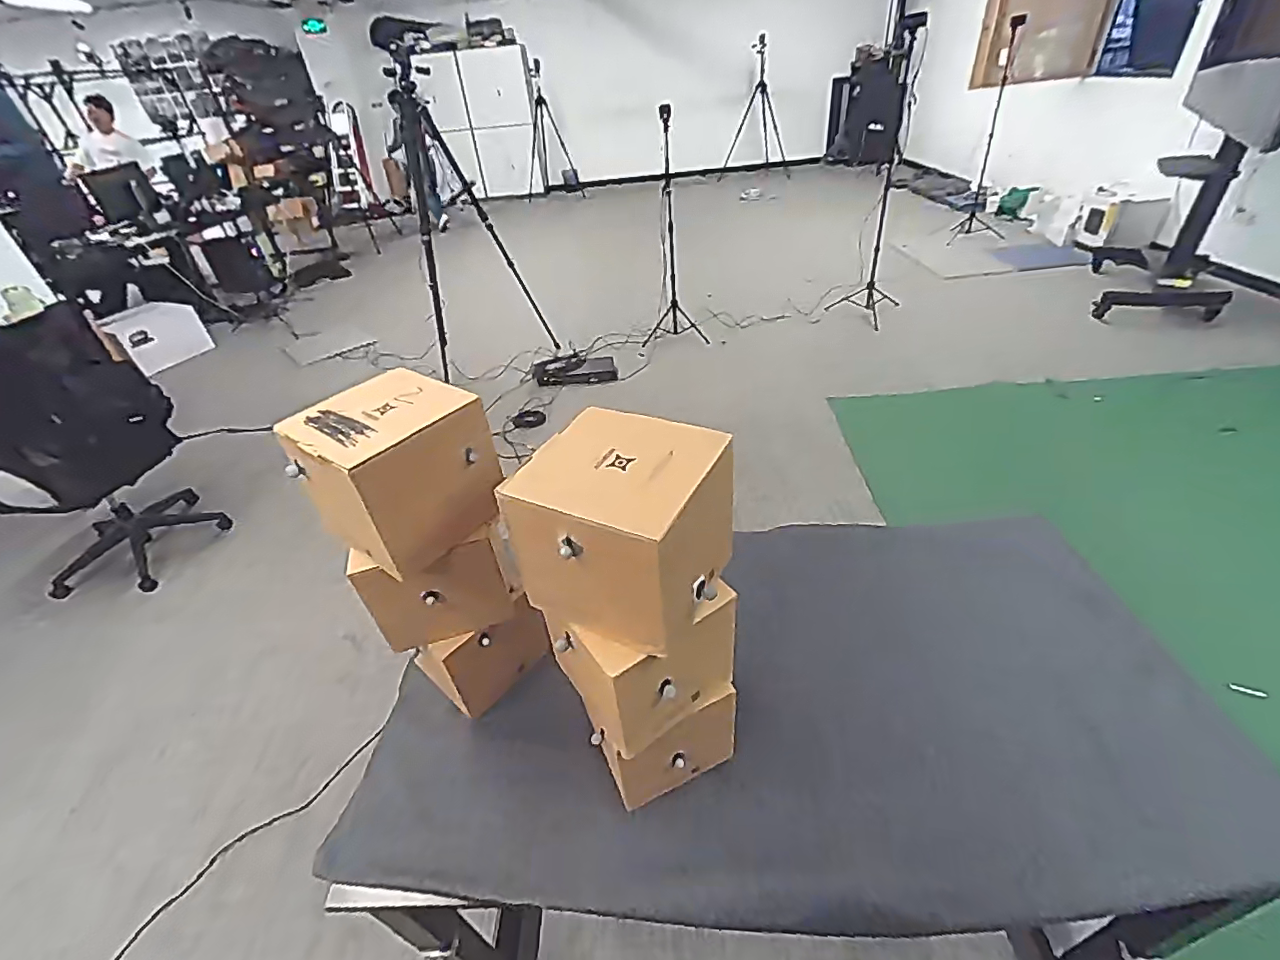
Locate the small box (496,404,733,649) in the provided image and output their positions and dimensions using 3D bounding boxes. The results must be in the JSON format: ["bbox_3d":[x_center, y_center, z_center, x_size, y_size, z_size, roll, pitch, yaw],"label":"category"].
[{"bbox_3d":[-0.014,0.044,0.563,0.179,0.176,0.168,15,43,26],"label":"small box"}]

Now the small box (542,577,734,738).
[{"bbox_3d":[-0.002,0.178,0.655,0.168,0.176,0.179,-27,41,-24],"label":"small box"}]

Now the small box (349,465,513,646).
[{"bbox_3d":[-0.290,0.108,0.784,0.179,0.176,0.168,-15,39,-11],"label":"small box"}]

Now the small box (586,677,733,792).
[{"bbox_3d":[0.018,0.302,0.758,0.168,0.176,0.179,-19,39,-16],"label":"small box"}]

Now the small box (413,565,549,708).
[{"bbox_3d":[-0.275,0.235,0.889,0.179,0.176,0.168,25,48,34],"label":"small box"}]
